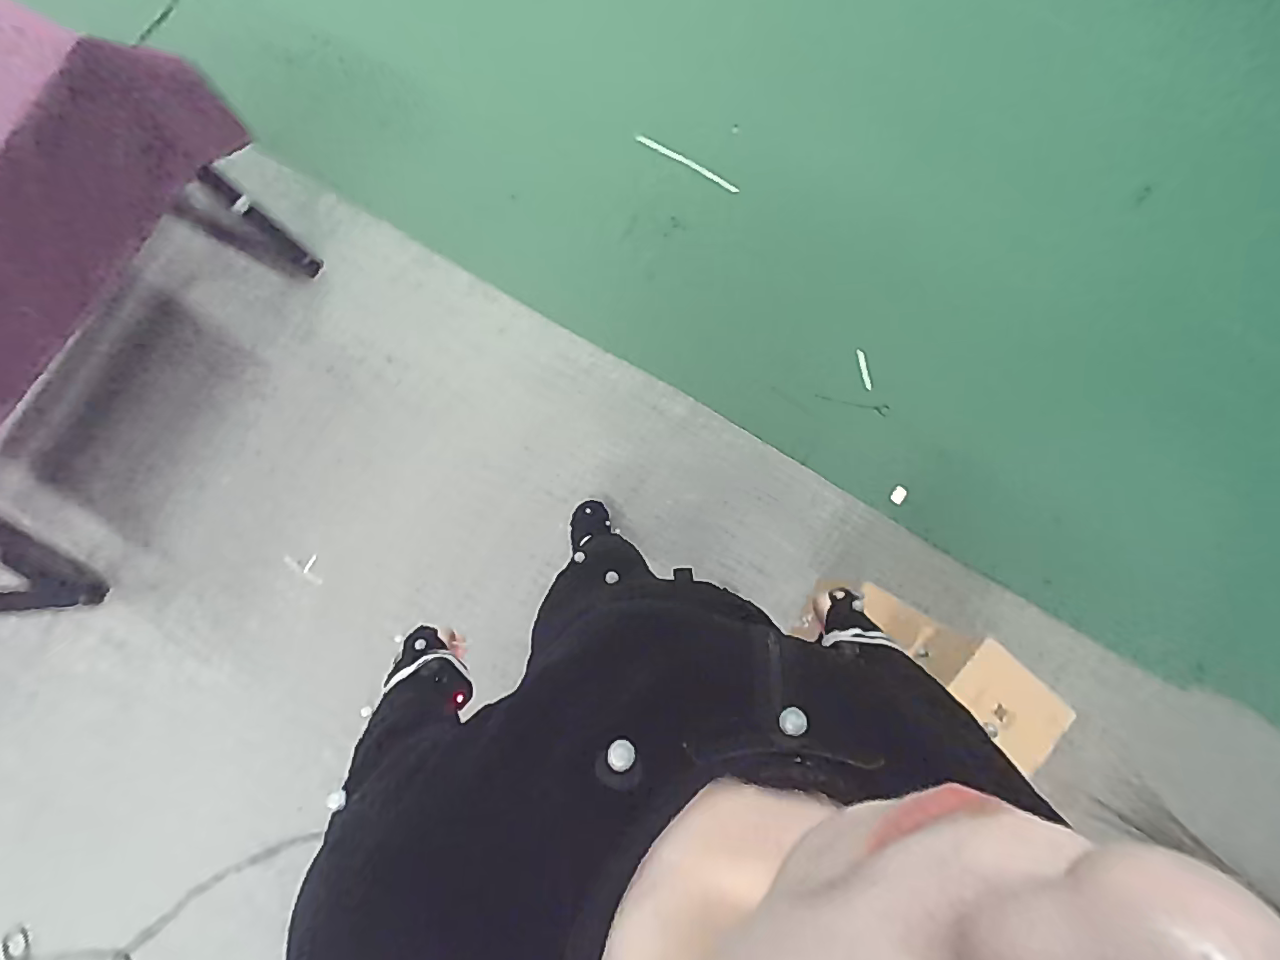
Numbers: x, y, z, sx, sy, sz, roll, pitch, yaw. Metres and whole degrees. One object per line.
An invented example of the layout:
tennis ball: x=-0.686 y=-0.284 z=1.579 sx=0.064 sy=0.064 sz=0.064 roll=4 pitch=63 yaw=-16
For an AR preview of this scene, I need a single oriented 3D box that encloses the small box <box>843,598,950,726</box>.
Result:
small box: x=0.549 y=0.353 z=1.091 sx=0.179 sy=0.176 sz=0.168 roll=36 pitch=83 yaw=6
